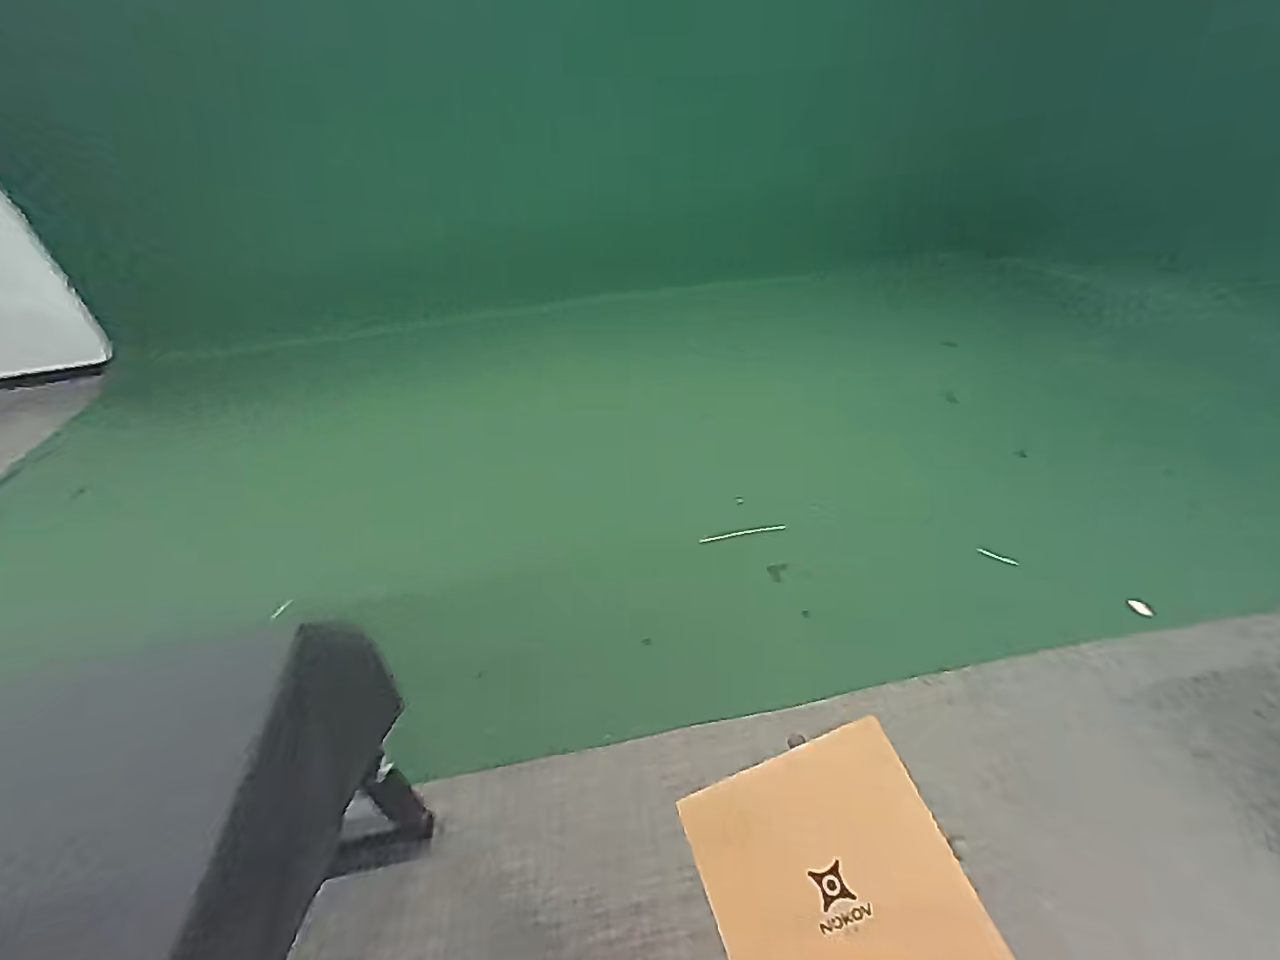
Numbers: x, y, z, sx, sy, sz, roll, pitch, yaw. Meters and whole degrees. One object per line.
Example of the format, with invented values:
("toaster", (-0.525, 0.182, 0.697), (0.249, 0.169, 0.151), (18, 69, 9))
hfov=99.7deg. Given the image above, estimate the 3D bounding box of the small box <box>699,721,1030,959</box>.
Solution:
("small box", (0.161, 0.317, 0.421), (0.168, 0.176, 0.179), (-24, 56, 2))
